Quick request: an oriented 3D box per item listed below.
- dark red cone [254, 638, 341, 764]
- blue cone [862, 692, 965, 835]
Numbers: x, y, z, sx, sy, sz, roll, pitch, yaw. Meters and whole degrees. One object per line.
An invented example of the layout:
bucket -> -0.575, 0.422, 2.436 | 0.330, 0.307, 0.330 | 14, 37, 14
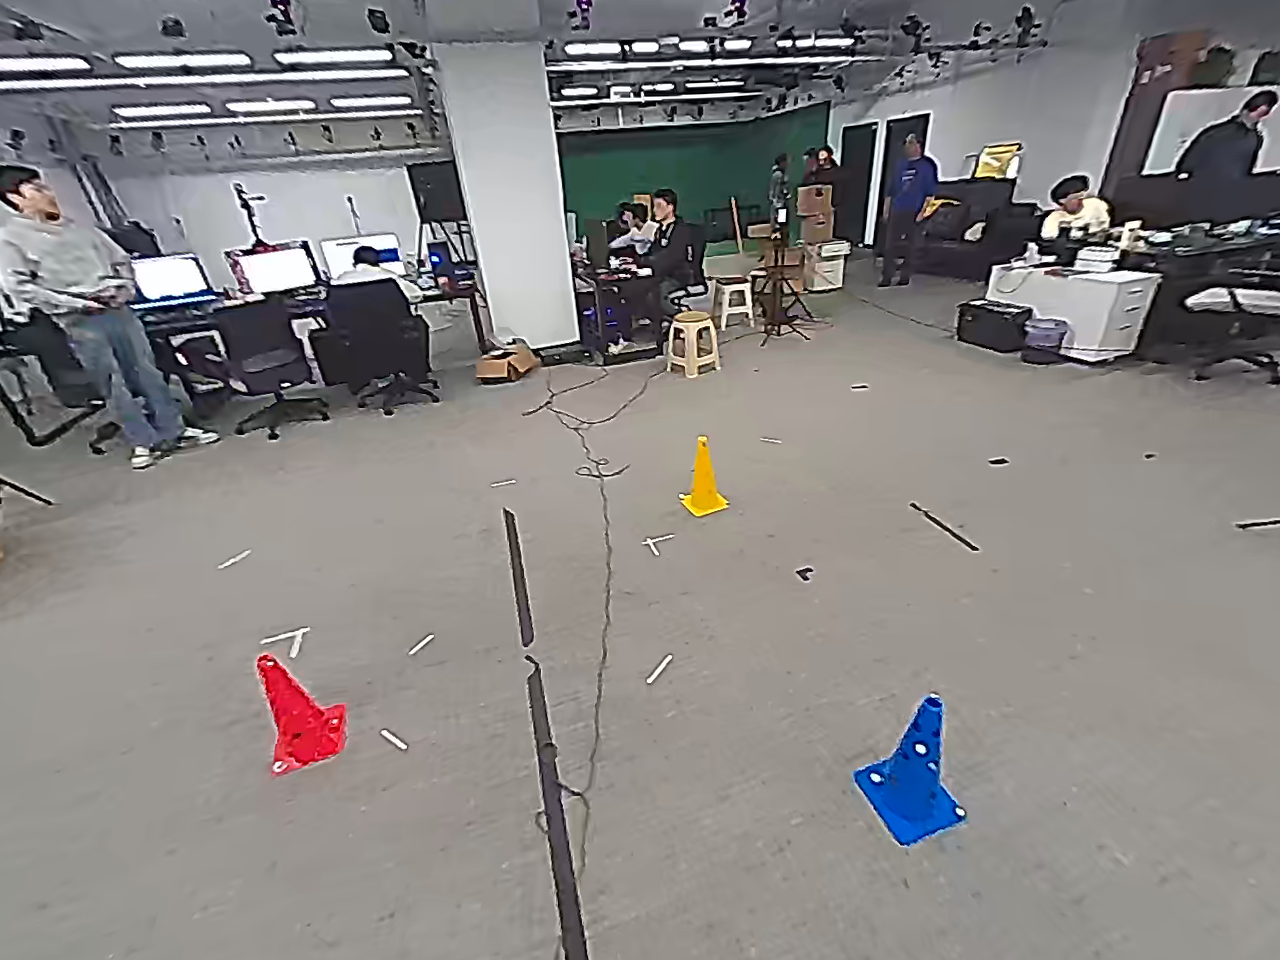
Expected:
dark red cone -> -1.050, 0.628, 1.601 | 0.201, 0.394, 0.202 | -15, 30, -20
blue cone -> 0.687, 0.660, 1.315 | 0.192, 0.380, 0.193 | -11, 29, -12
